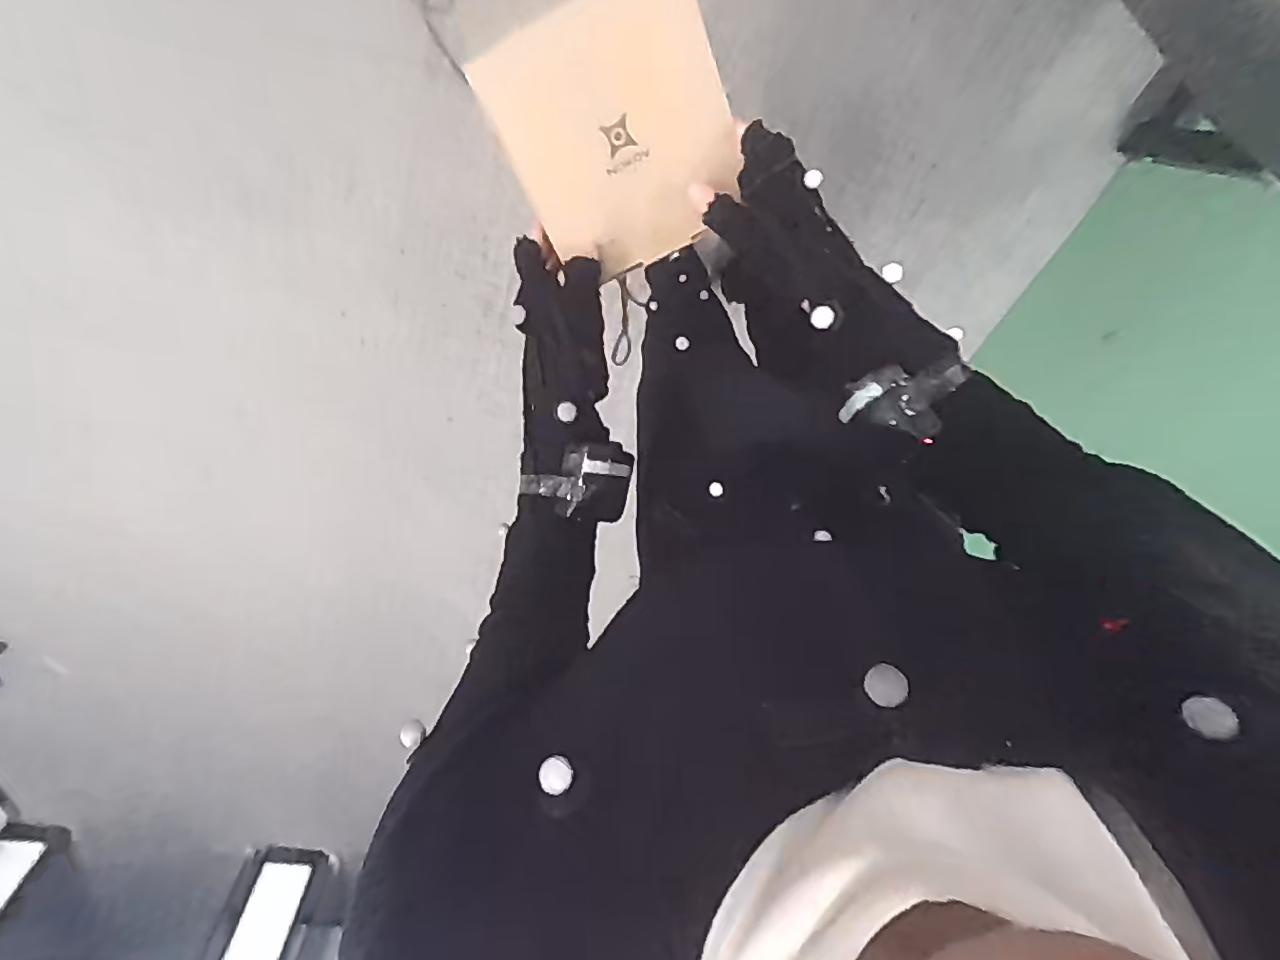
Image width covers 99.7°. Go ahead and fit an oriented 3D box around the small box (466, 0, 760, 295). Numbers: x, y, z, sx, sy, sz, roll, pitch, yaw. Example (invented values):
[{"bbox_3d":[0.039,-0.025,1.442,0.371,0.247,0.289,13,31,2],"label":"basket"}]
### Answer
[{"bbox_3d":[-0.016,-0.293,0.467,0.168,0.176,0.179,-24,120,11],"label":"small box"}]
